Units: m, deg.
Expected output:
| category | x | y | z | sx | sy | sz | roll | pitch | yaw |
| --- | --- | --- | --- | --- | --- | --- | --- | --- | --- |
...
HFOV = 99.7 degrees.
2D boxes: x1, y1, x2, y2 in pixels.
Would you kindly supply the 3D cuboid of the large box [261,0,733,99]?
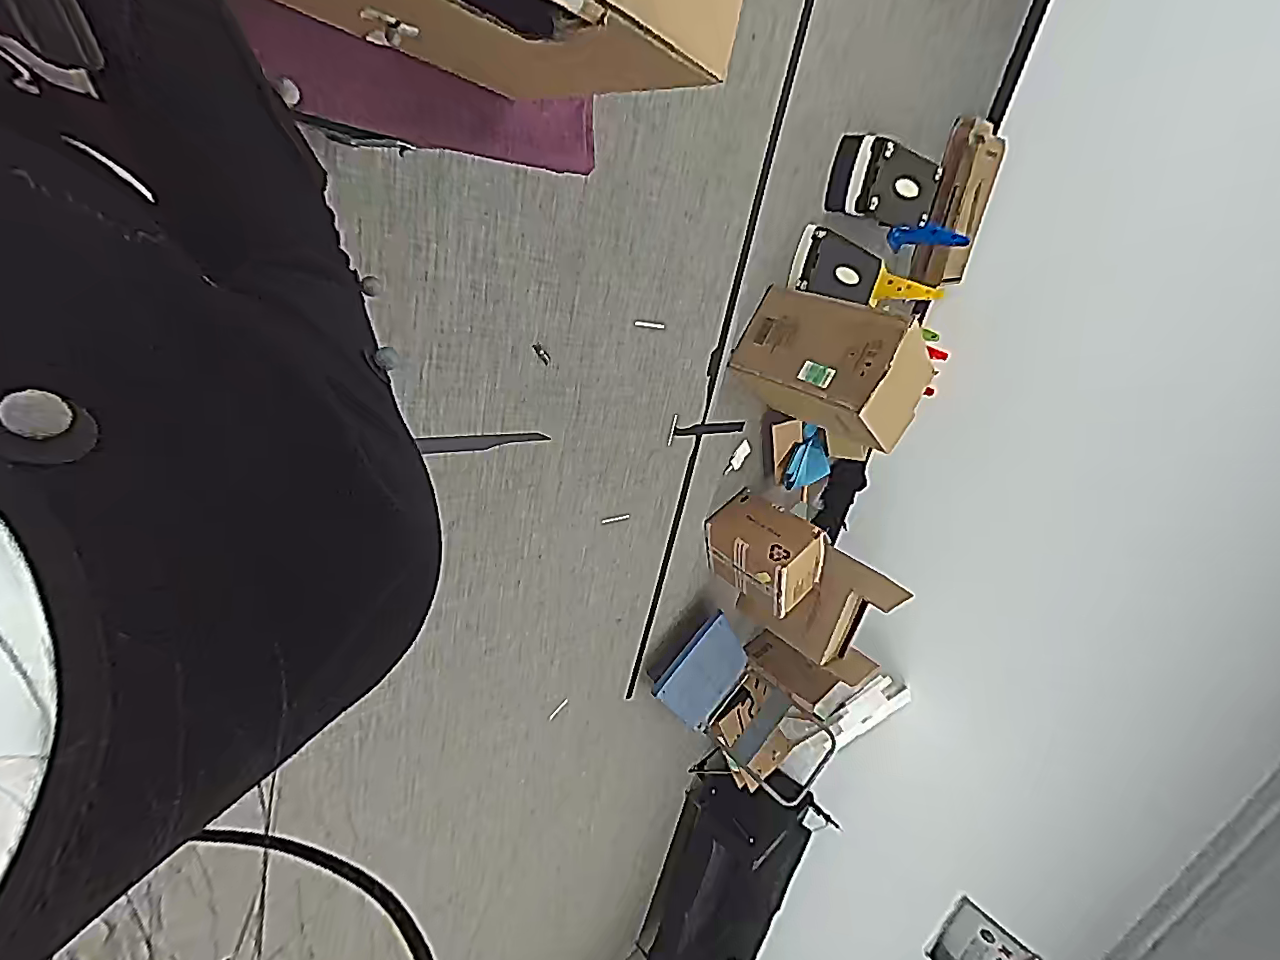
| category | x | y | z | sx | sy | sz | roll | pitch | yaw |
| --- | --- | --- | --- | --- | --- | --- | --- | --- | --- |
| large box | -0.112 | -0.534 | 0.349 | 0.320 | 0.320 | 0.408 | -11 | 120 | -45 |
